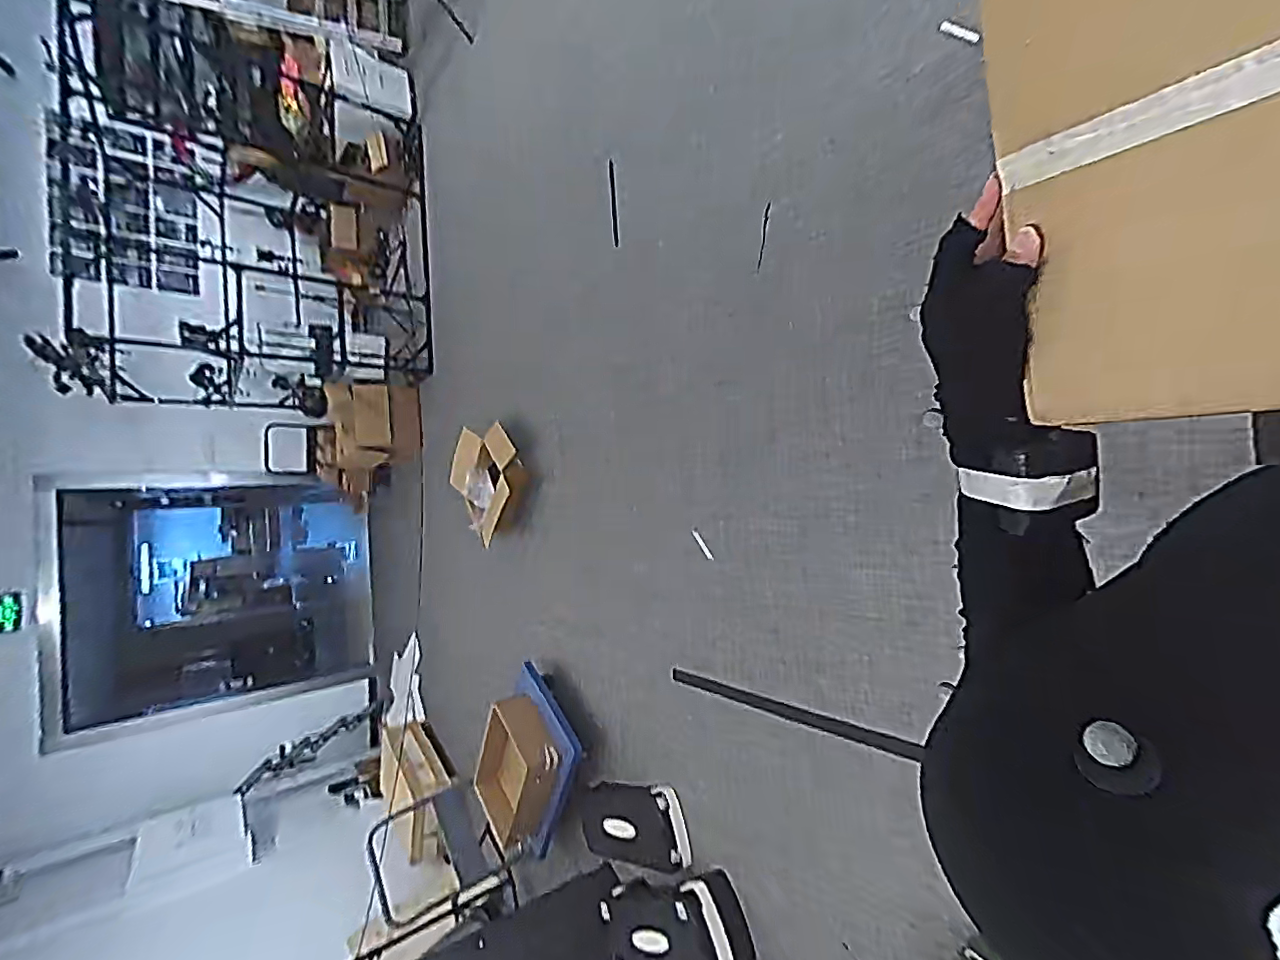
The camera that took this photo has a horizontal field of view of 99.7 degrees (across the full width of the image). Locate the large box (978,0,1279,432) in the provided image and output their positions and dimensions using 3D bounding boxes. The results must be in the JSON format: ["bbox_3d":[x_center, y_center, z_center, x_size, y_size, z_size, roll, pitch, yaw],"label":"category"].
[{"bbox_3d":[0.464,-0.223,0.270,0.408,0.320,0.320,-1,103,53],"label":"large box"}]
